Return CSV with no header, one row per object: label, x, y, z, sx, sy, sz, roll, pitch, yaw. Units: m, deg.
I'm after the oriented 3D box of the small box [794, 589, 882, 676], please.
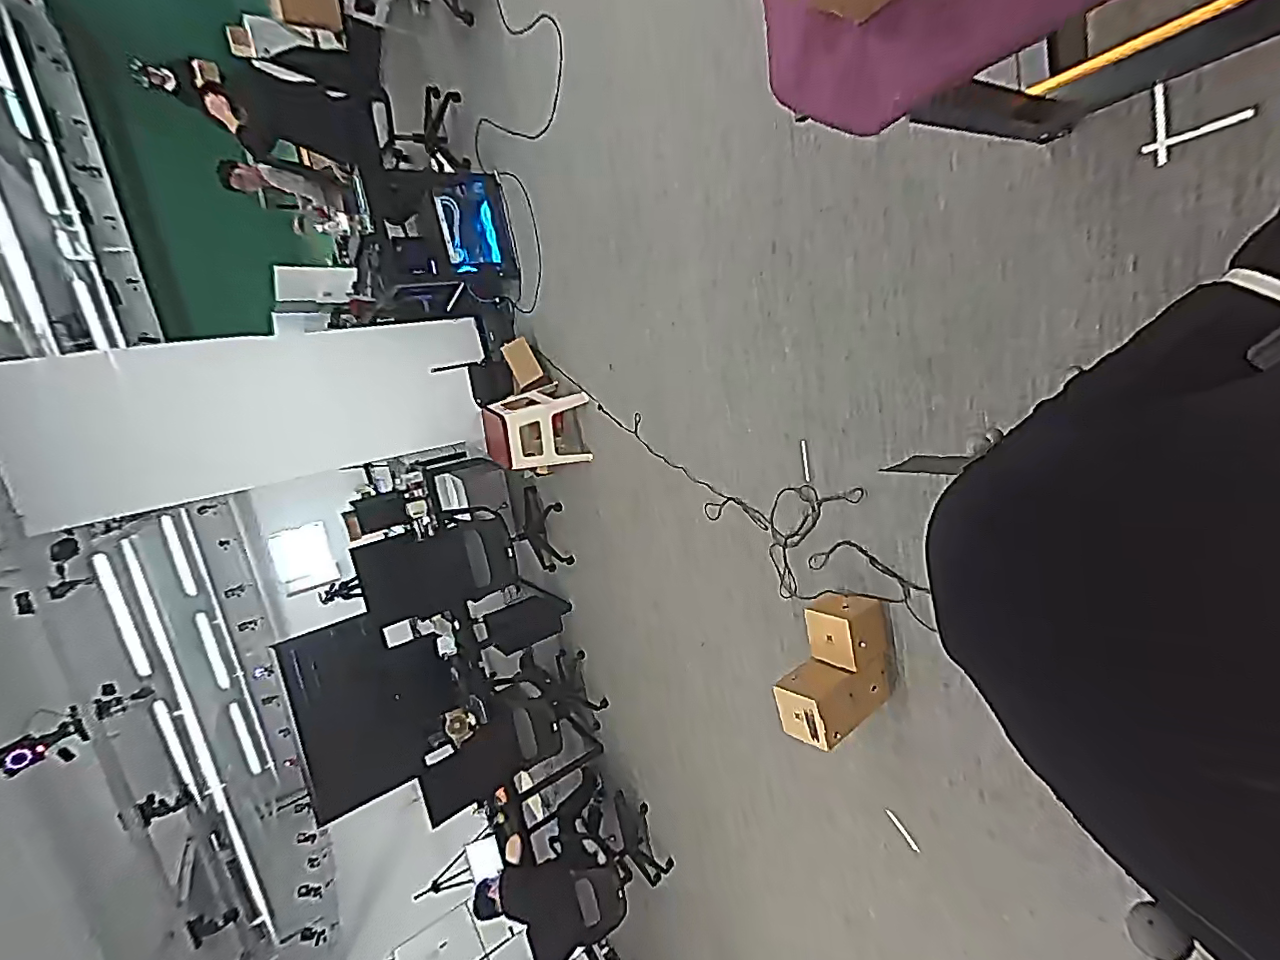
small box,0.610,0.472,1.673,0.179,0.176,0.168,31,117,35
